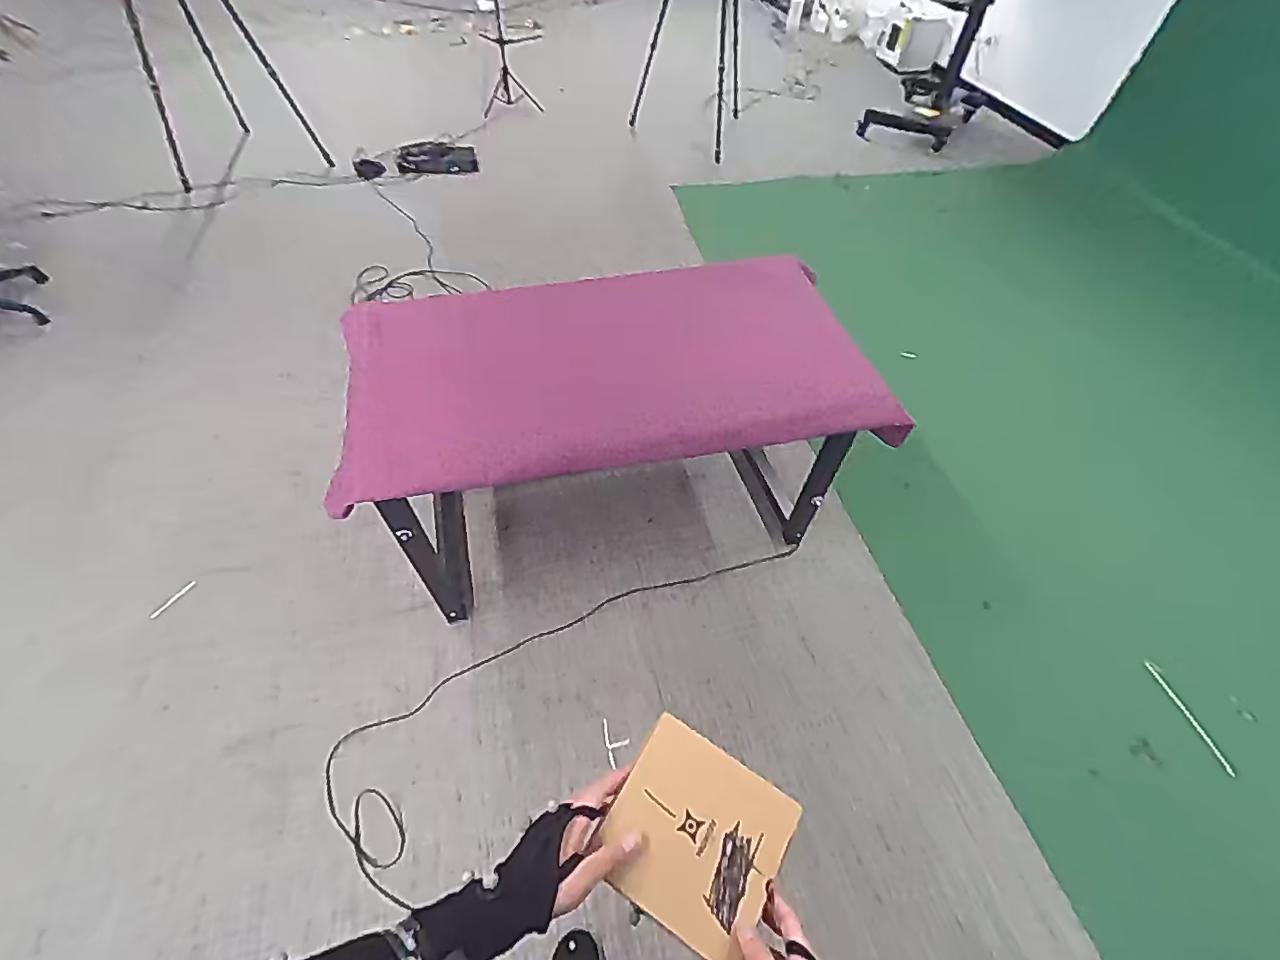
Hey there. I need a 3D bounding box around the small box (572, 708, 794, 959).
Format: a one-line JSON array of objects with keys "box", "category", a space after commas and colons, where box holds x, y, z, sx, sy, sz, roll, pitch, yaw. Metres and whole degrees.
[{"box": [0.040, 0.394, 0.612, 0.179, 0.176, 0.168, 31, 57, 13], "category": "small box"}]
